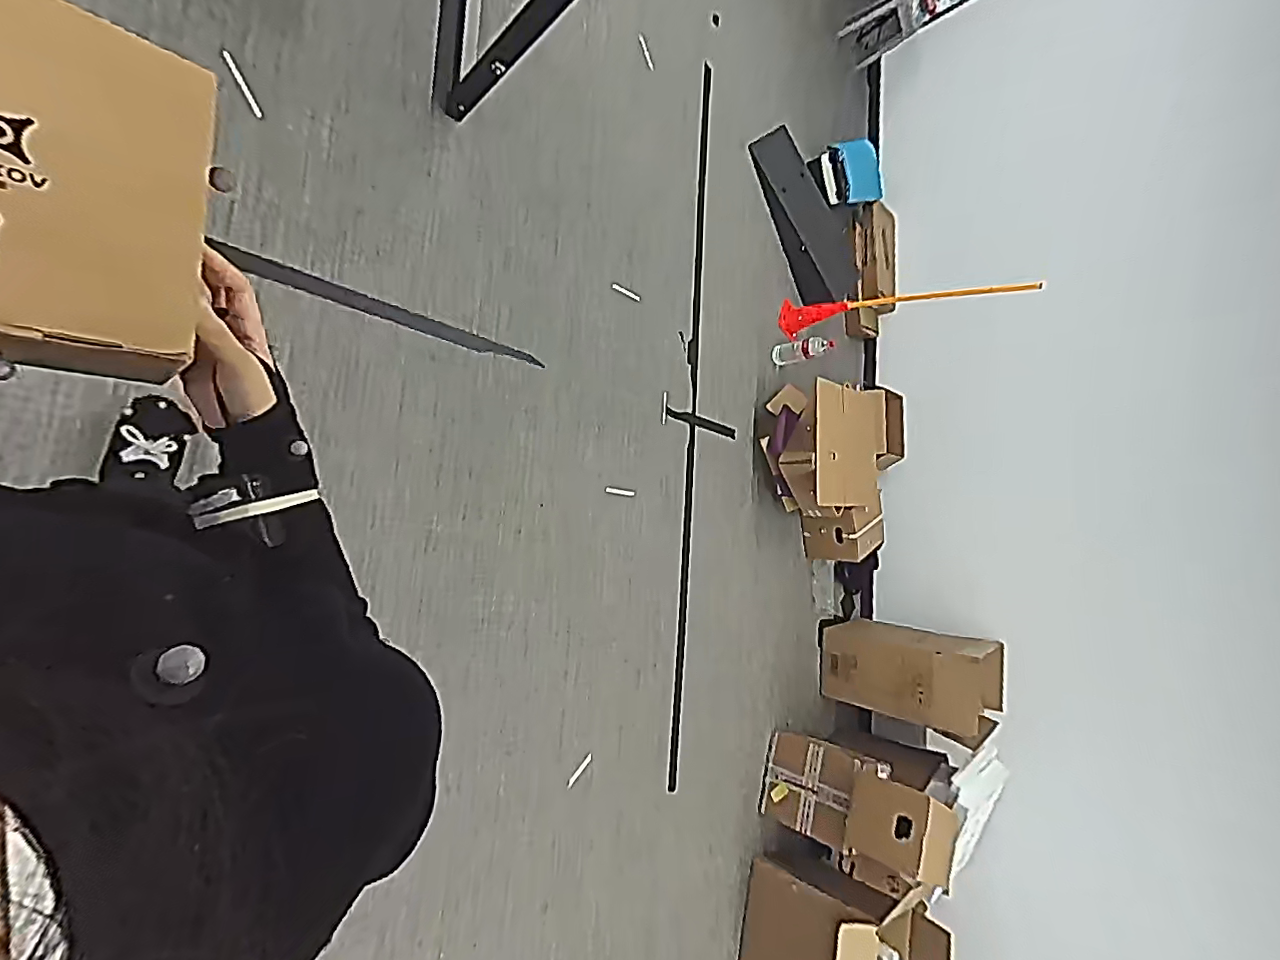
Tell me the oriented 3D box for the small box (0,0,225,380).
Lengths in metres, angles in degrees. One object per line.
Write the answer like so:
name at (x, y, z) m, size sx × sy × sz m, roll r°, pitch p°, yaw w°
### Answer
small box at (-0.376, -0.168, 0.328) m, size 0.168 × 0.176 × 0.179 m, roll 5°, pitch 88°, yaw -46°
